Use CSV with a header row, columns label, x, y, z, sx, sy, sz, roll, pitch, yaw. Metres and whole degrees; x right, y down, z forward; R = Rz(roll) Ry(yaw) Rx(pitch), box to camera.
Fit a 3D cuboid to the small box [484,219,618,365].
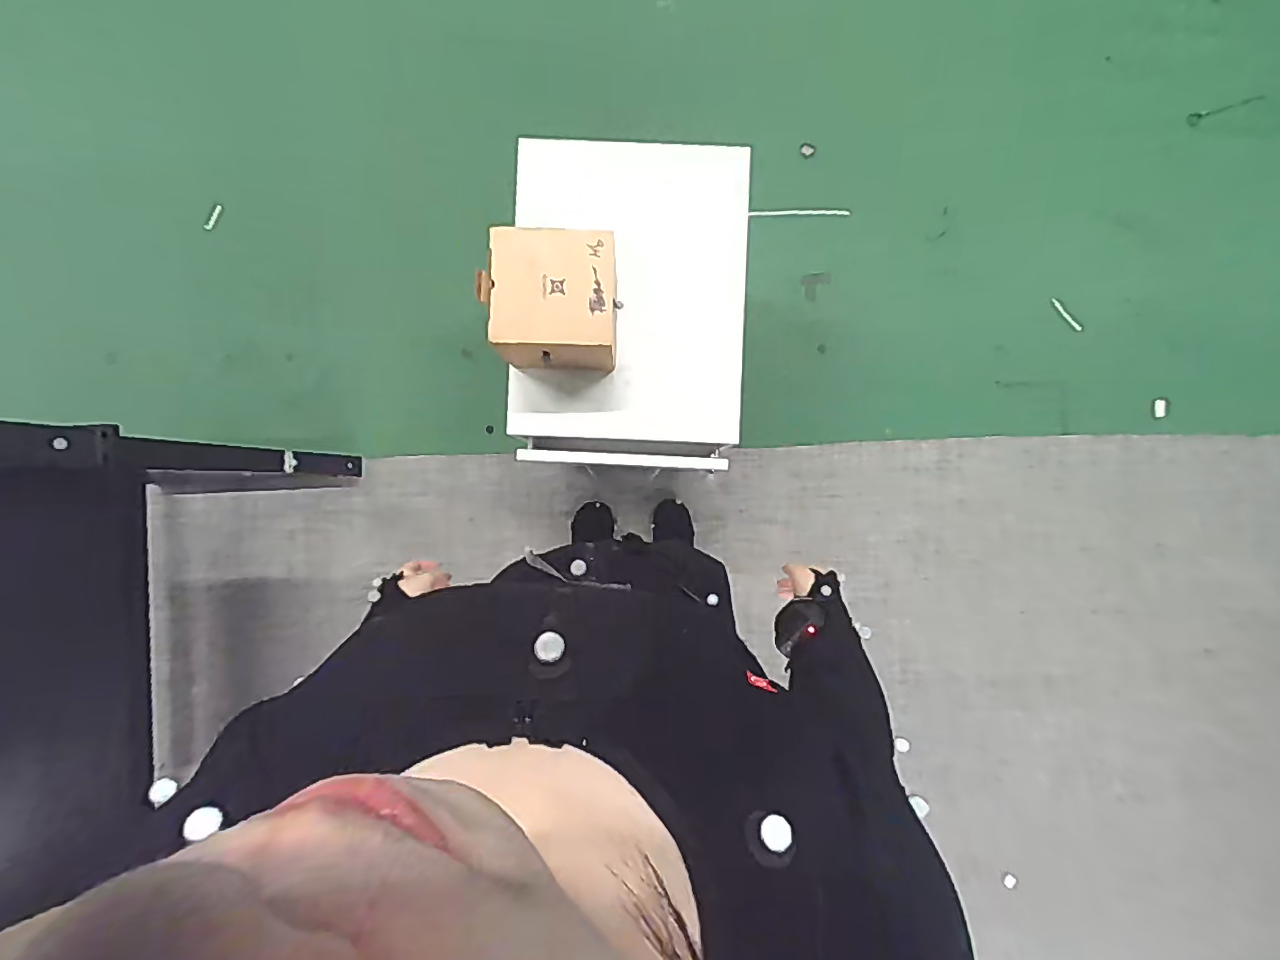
label,x,y,z,sx,sy,sz,roll,pitch,yaw
small box,-0.125,-0.274,0.820,0.179,0.176,0.168,1,90,-1
